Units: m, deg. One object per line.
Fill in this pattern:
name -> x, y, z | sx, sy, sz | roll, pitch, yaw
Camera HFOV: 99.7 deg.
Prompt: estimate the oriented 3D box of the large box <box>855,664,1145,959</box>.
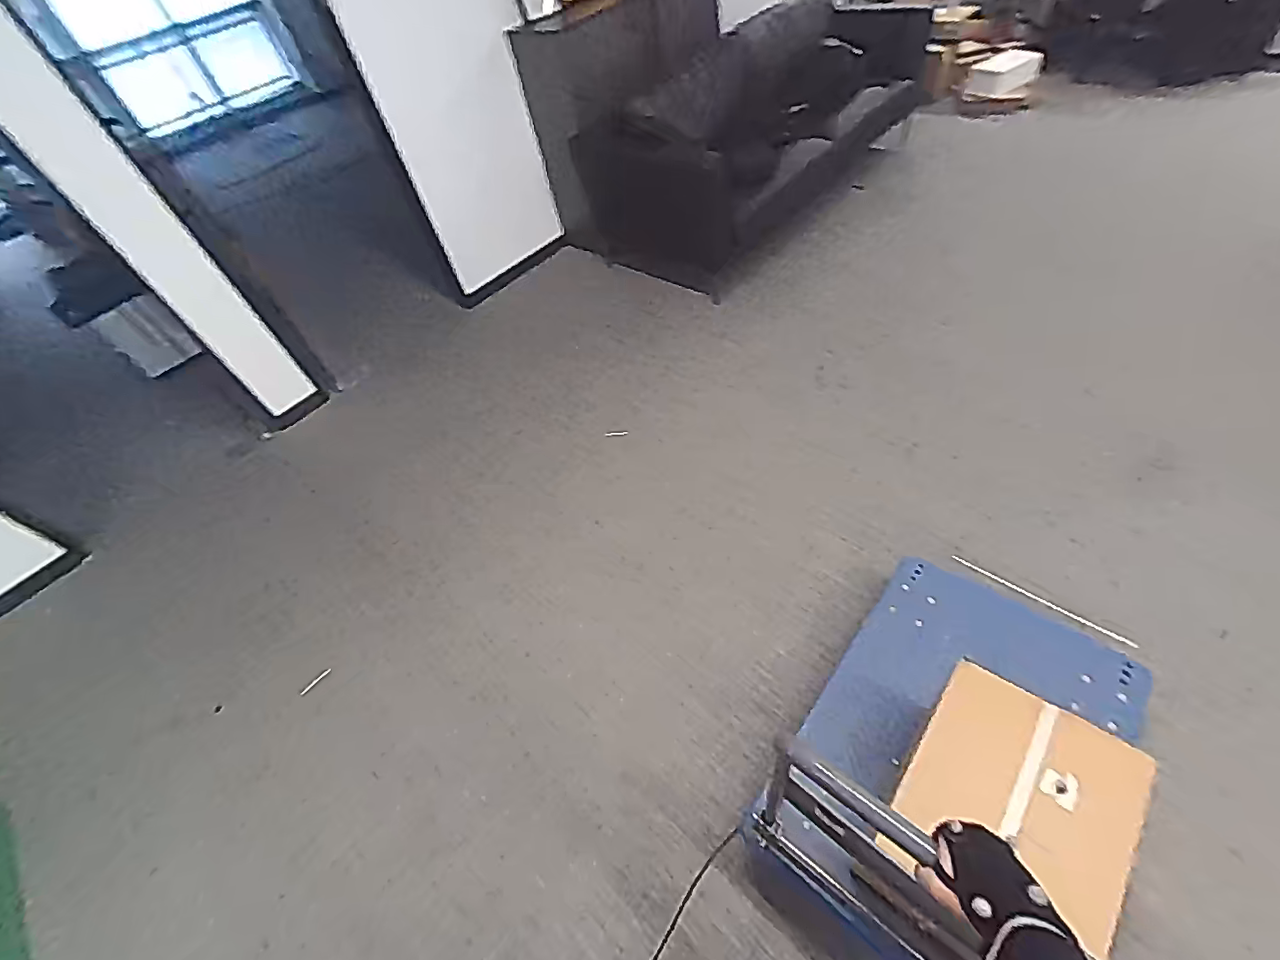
large box -> 0.651, 0.648, 1.021 | 0.320, 0.320, 0.408 | 28, 60, 31
